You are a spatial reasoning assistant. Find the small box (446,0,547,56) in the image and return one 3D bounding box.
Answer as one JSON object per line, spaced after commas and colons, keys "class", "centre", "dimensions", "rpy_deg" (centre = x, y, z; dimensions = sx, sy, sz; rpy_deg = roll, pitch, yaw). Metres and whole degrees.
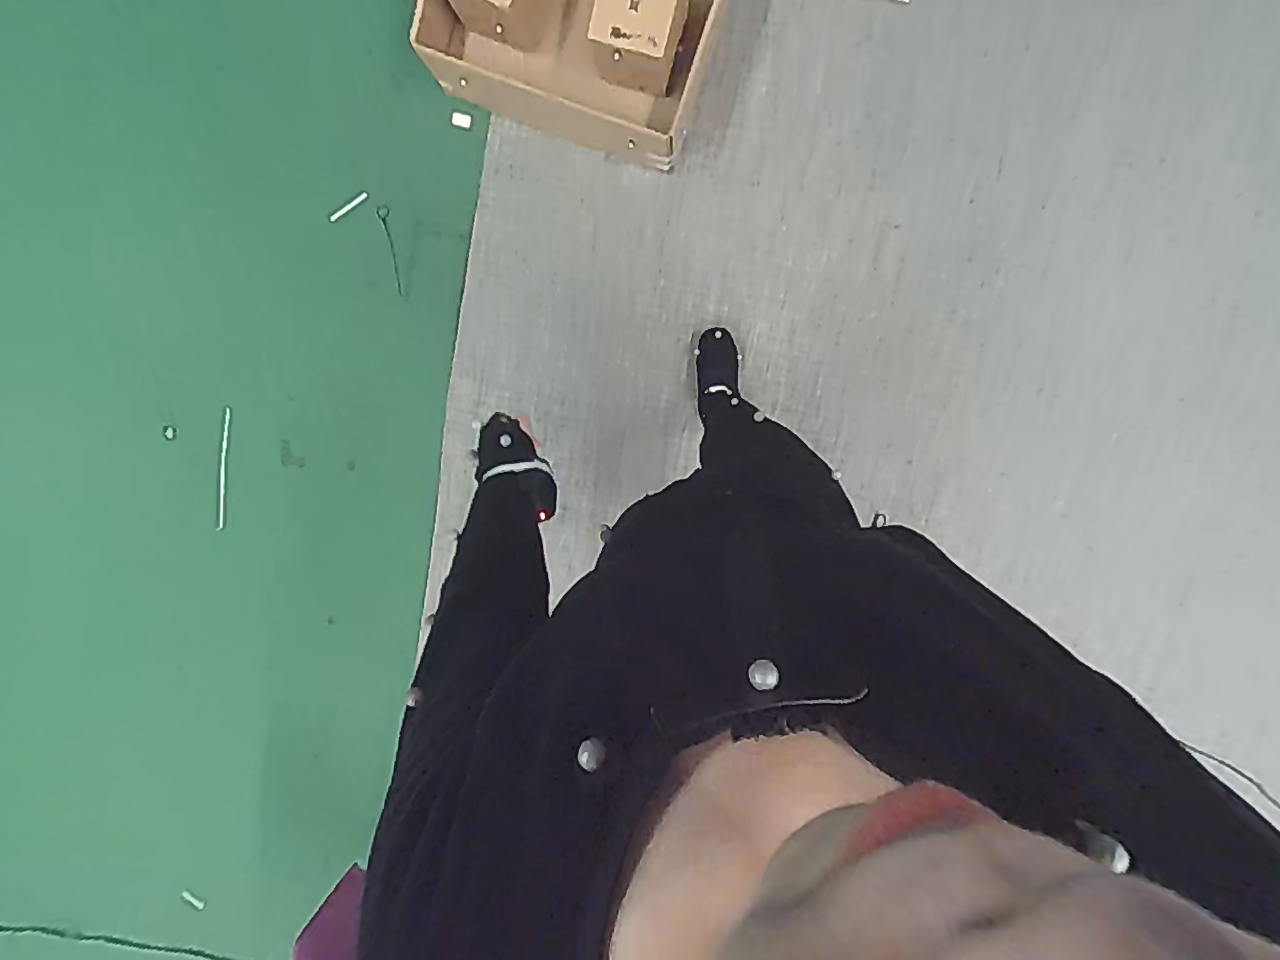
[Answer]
{"class": "small box", "centre": [-0.313, -1.088, 1.185], "dimensions": [0.168, 0.176, 0.179], "rpy_deg": [22, 101, 0]}
